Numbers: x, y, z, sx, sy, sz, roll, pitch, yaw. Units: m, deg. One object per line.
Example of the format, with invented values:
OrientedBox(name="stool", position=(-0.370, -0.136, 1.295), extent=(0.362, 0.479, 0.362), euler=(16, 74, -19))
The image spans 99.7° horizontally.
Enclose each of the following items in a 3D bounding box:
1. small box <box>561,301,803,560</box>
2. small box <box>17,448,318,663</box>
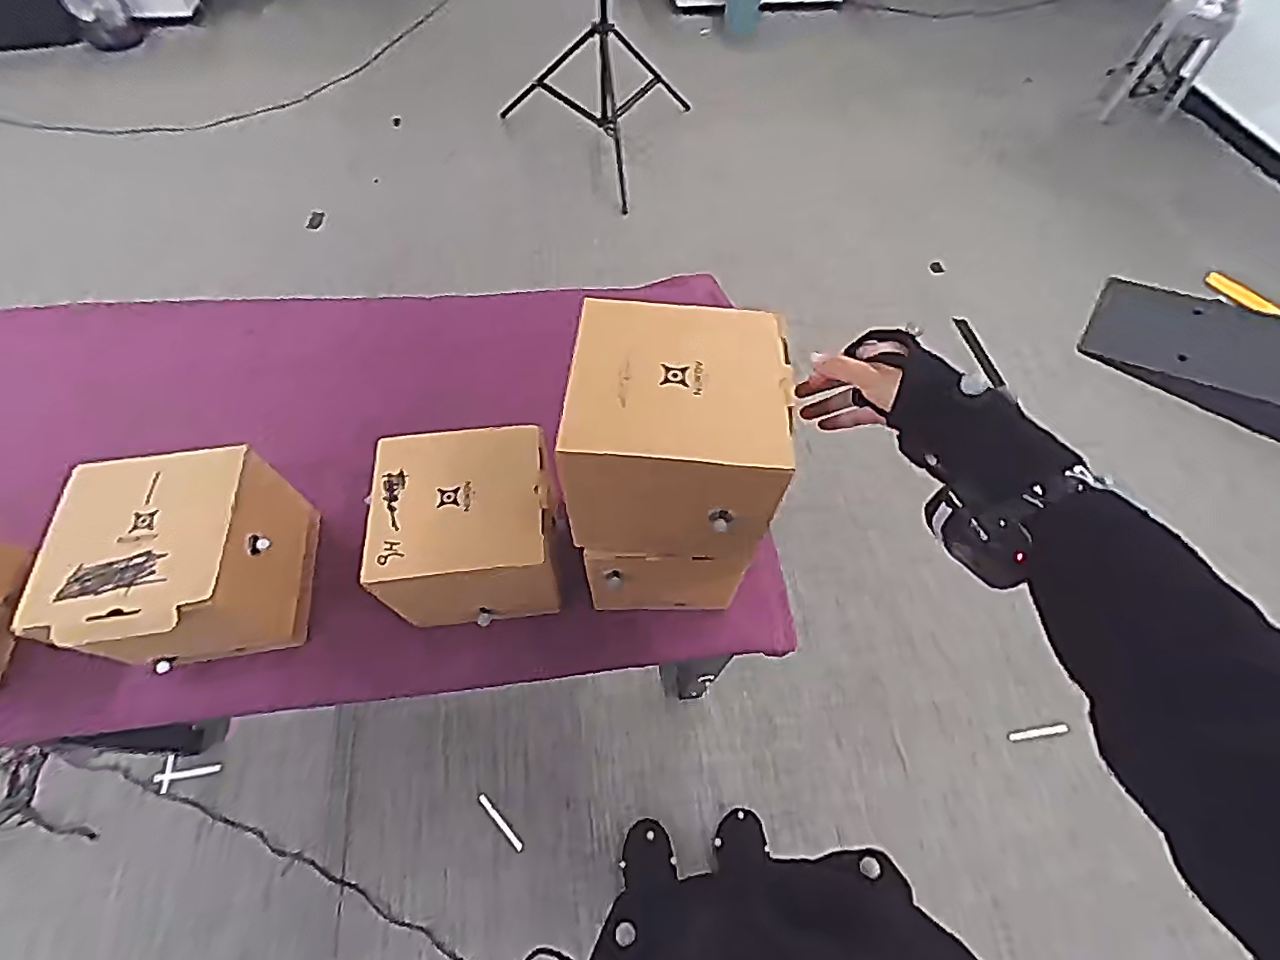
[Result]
OrientedBox(name="small box", position=(0.034, -0.036, 0.492), extent=(0.179, 0.176, 0.168), euler=(4, 58, 1))
OrientedBox(name="small box", position=(-0.478, 0.090, 0.586), extent=(0.168, 0.176, 0.179), euler=(-8, 60, -7))
